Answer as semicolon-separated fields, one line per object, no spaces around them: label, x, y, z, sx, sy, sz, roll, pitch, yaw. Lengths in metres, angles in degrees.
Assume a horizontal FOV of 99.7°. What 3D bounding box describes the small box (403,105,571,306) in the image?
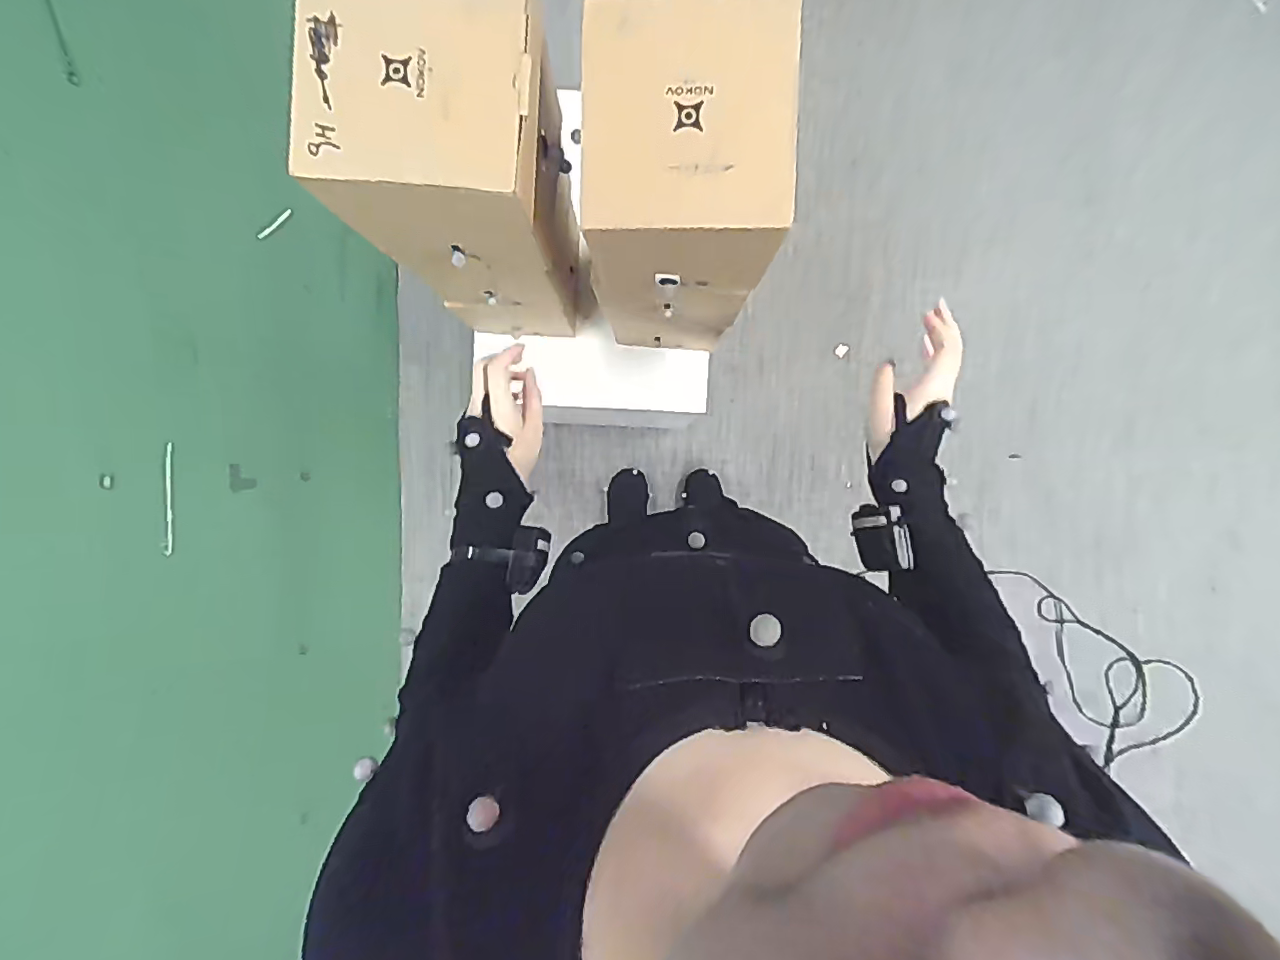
small box;-0.178;-0.326;0.653;0.168;0.176;0.179;4;93;0

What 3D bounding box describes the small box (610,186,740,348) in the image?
small box;0.049;-0.310;0.816;0.168;0.176;0.179;5;93;1

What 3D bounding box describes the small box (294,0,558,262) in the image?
small box;-0.173;-0.310;0.489;0.179;0.176;0.168;4;92;-1

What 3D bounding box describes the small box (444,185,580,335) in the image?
small box;-0.183;-0.330;0.817;0.168;0.176;0.179;3;93;0
